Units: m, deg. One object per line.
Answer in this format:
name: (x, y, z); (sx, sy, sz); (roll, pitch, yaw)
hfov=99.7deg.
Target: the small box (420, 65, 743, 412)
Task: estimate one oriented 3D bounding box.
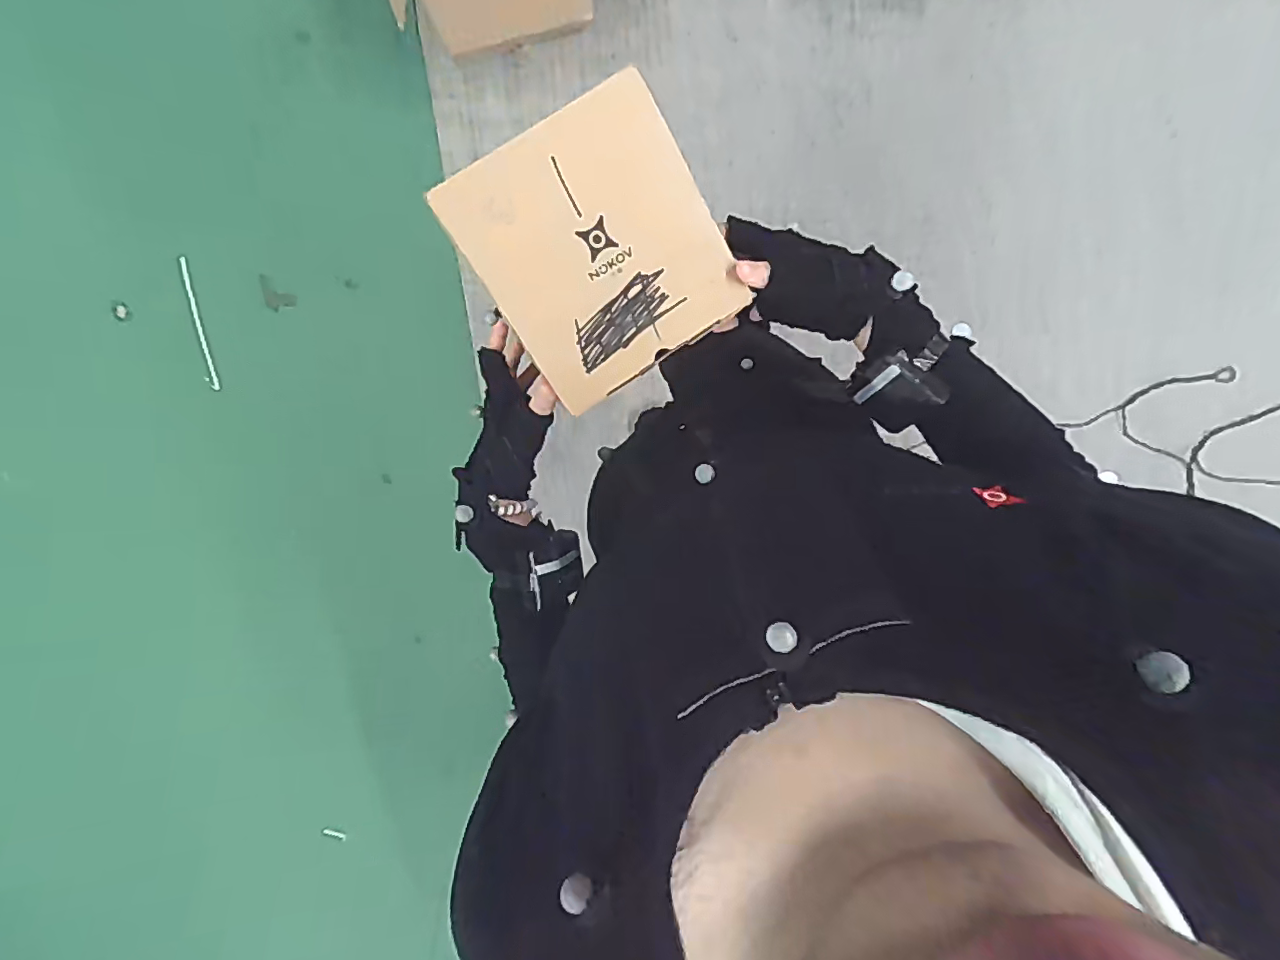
small box: (-0.048, -0.180, 0.453); (0.168, 0.176, 0.179); (-35, 107, -3)
